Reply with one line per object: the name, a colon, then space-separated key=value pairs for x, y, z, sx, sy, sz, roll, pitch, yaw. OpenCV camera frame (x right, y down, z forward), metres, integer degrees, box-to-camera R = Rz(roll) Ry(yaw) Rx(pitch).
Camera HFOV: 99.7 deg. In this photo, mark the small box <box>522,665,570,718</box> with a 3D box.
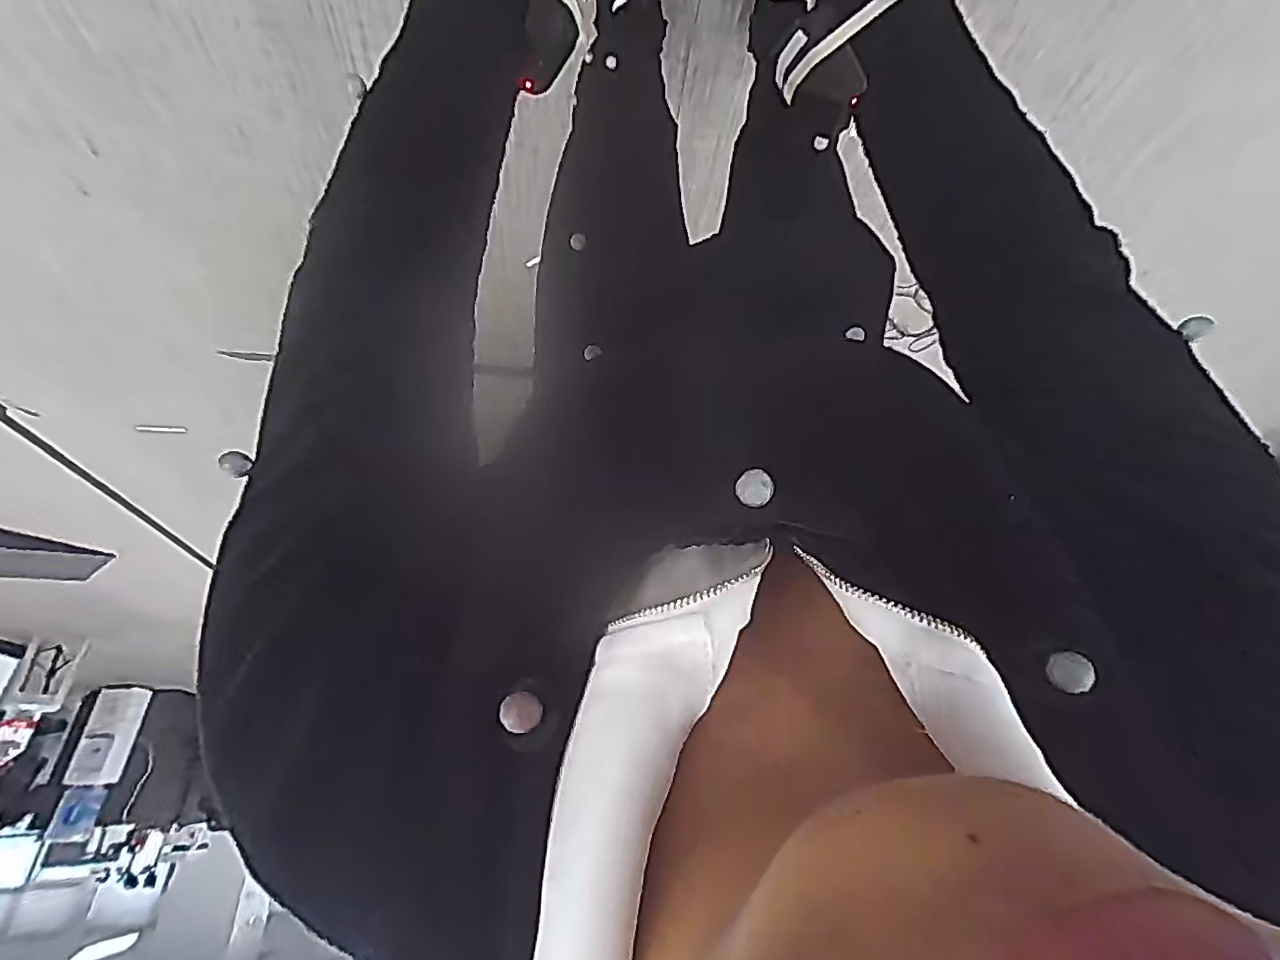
small box: x=-0.365 y=0.825 z=2.111 sx=0.179 sy=0.176 sz=0.168 roll=-1 pitch=149 yaw=-5
